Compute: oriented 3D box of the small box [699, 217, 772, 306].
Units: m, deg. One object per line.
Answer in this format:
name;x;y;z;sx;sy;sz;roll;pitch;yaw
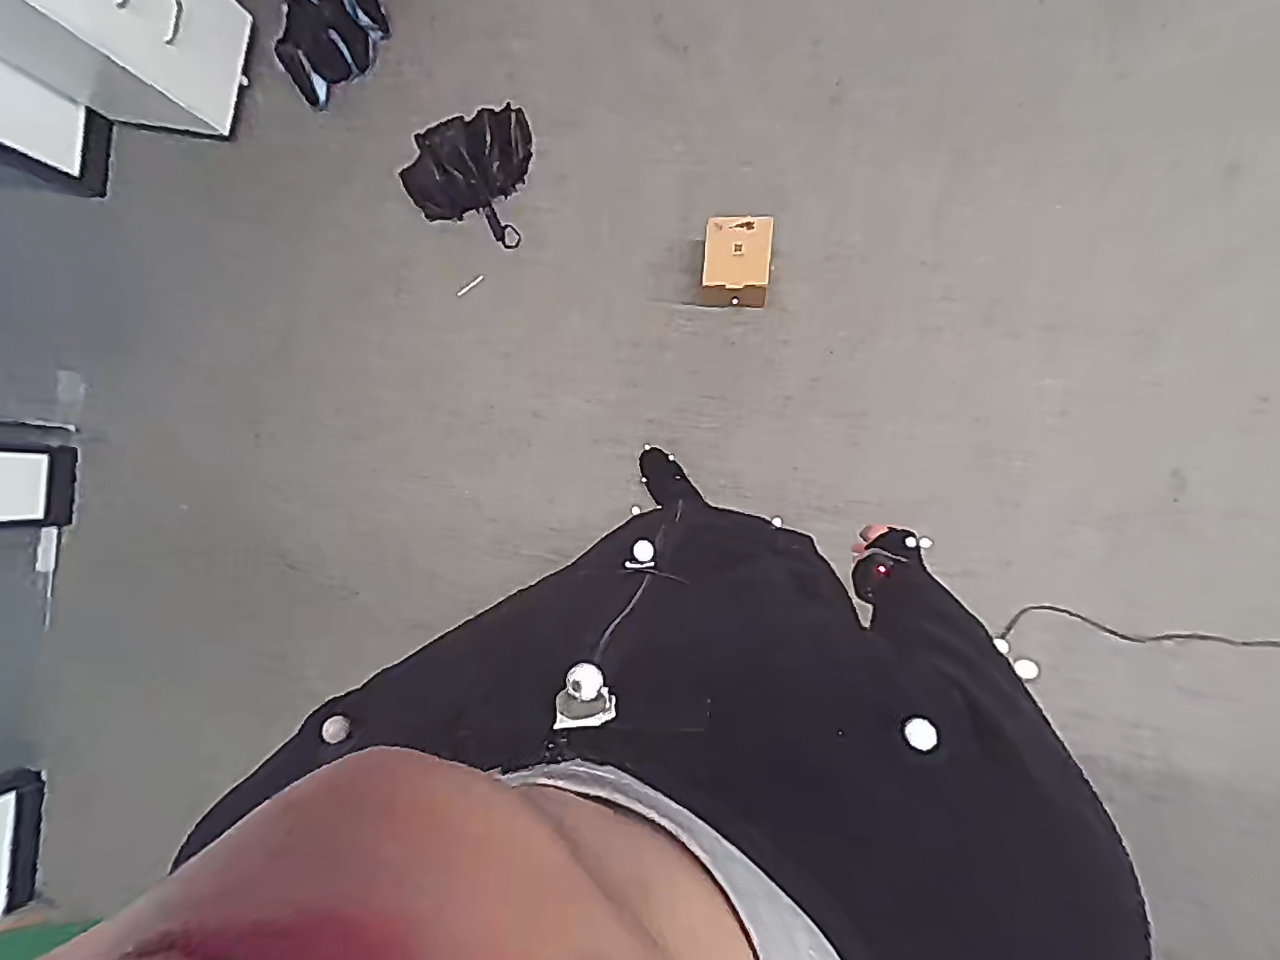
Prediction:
small box;0.253;-0.569;1.424;0.168;0.176;0.179;6;92;10
